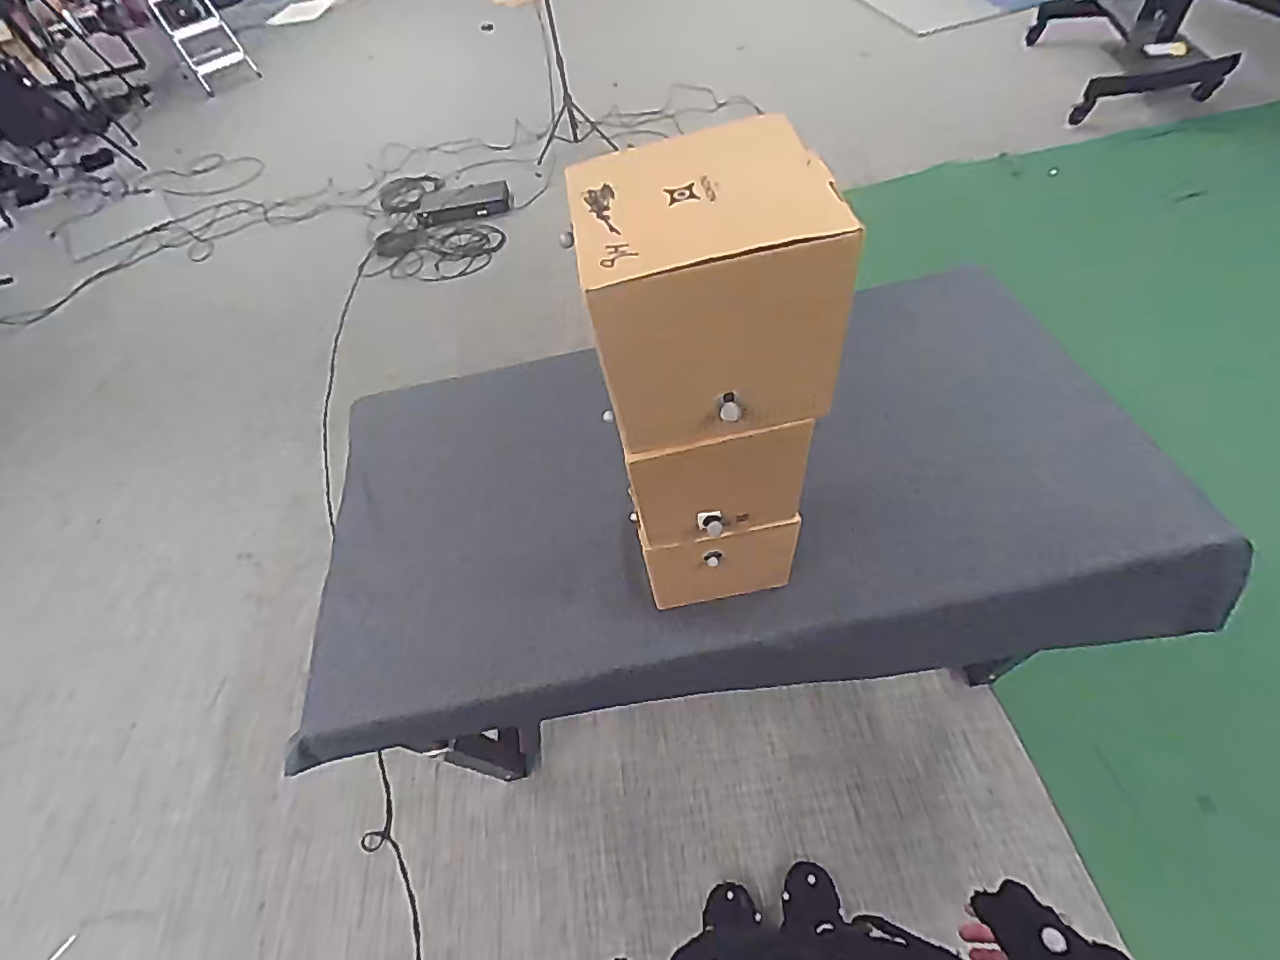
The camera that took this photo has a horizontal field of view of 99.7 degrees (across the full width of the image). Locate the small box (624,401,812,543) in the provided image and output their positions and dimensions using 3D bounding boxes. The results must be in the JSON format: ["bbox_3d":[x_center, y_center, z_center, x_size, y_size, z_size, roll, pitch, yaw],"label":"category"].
[{"bbox_3d":[0.065,-0.059,0.576,0.168,0.176,0.179,-14,56,1],"label":"small box"}]

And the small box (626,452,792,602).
[{"bbox_3d":[0.087,0.048,0.717,0.179,0.176,0.168,-11,55,1],"label":"small box"}]

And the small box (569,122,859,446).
[{"bbox_3d":[0.049,-0.151,0.442,0.179,0.176,0.168,-11,54,2],"label":"small box"}]
